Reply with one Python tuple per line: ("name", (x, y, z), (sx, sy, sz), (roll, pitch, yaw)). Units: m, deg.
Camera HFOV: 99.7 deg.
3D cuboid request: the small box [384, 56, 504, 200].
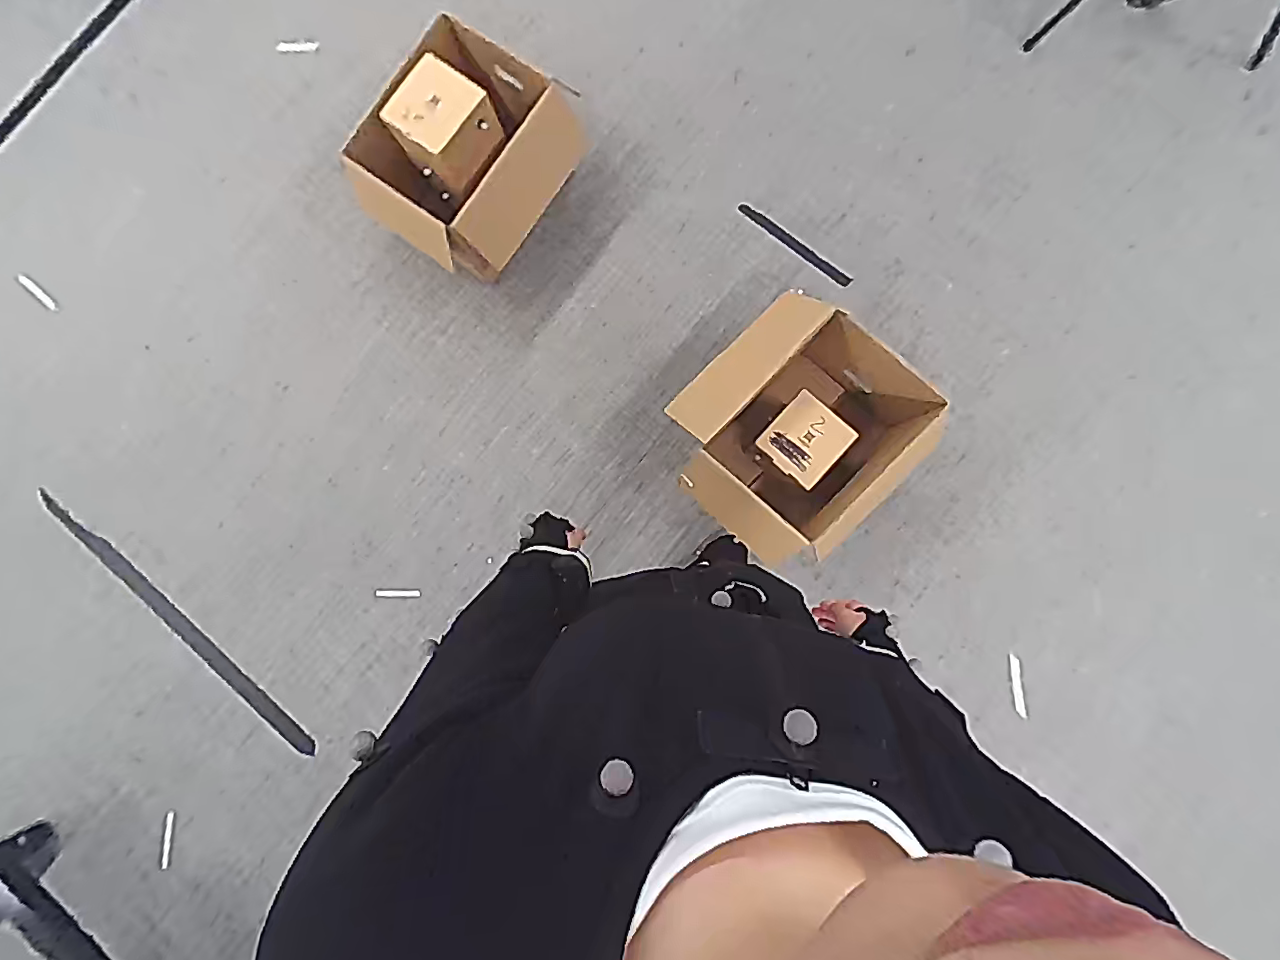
("small box", (-0.433, -0.793, 1.235), (0.168, 0.176, 0.179), (37, 89, 5))
